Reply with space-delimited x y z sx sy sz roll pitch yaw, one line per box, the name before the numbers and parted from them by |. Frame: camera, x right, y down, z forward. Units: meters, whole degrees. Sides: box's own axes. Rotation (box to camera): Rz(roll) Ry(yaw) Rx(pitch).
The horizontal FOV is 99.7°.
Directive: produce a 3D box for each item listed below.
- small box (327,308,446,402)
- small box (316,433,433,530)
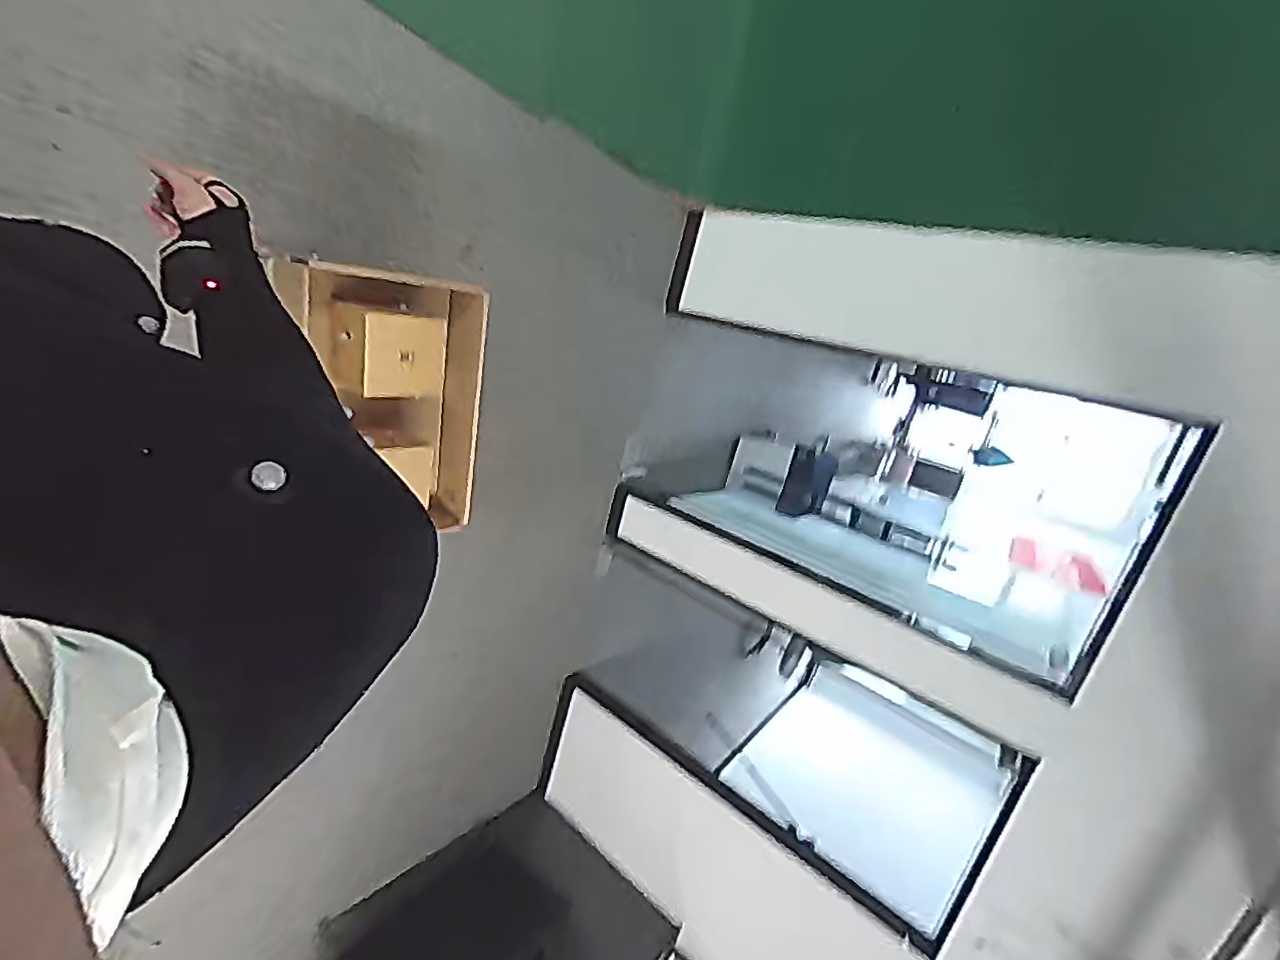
small box | -0.546 -0.267 1.159 0.179 0.176 0.168 -13 120 -53
small box | -0.605 -0.006 1.235 0.179 0.176 0.168 -11 119 -53
